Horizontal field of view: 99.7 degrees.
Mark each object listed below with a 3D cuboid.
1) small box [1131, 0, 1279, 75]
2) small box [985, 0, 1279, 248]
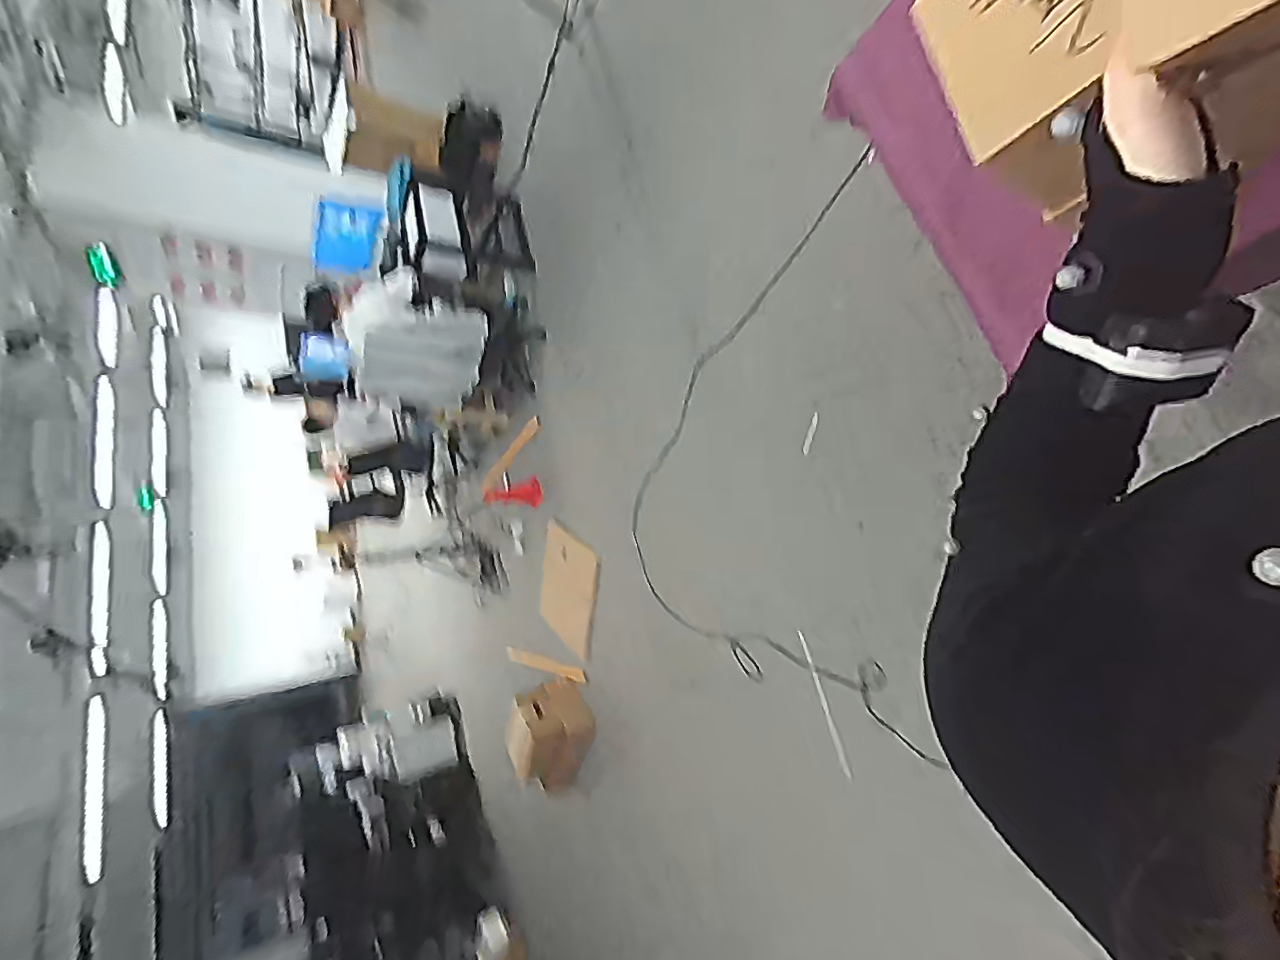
[{"bbox_3d":[0.294,-0.280,0.182,0.179,0.176,0.168,-4,108,59],"label":"small box"},{"bbox_3d":[0.505,-0.368,0.550,0.179,0.176,0.168,-34,66,49],"label":"small box"}]
